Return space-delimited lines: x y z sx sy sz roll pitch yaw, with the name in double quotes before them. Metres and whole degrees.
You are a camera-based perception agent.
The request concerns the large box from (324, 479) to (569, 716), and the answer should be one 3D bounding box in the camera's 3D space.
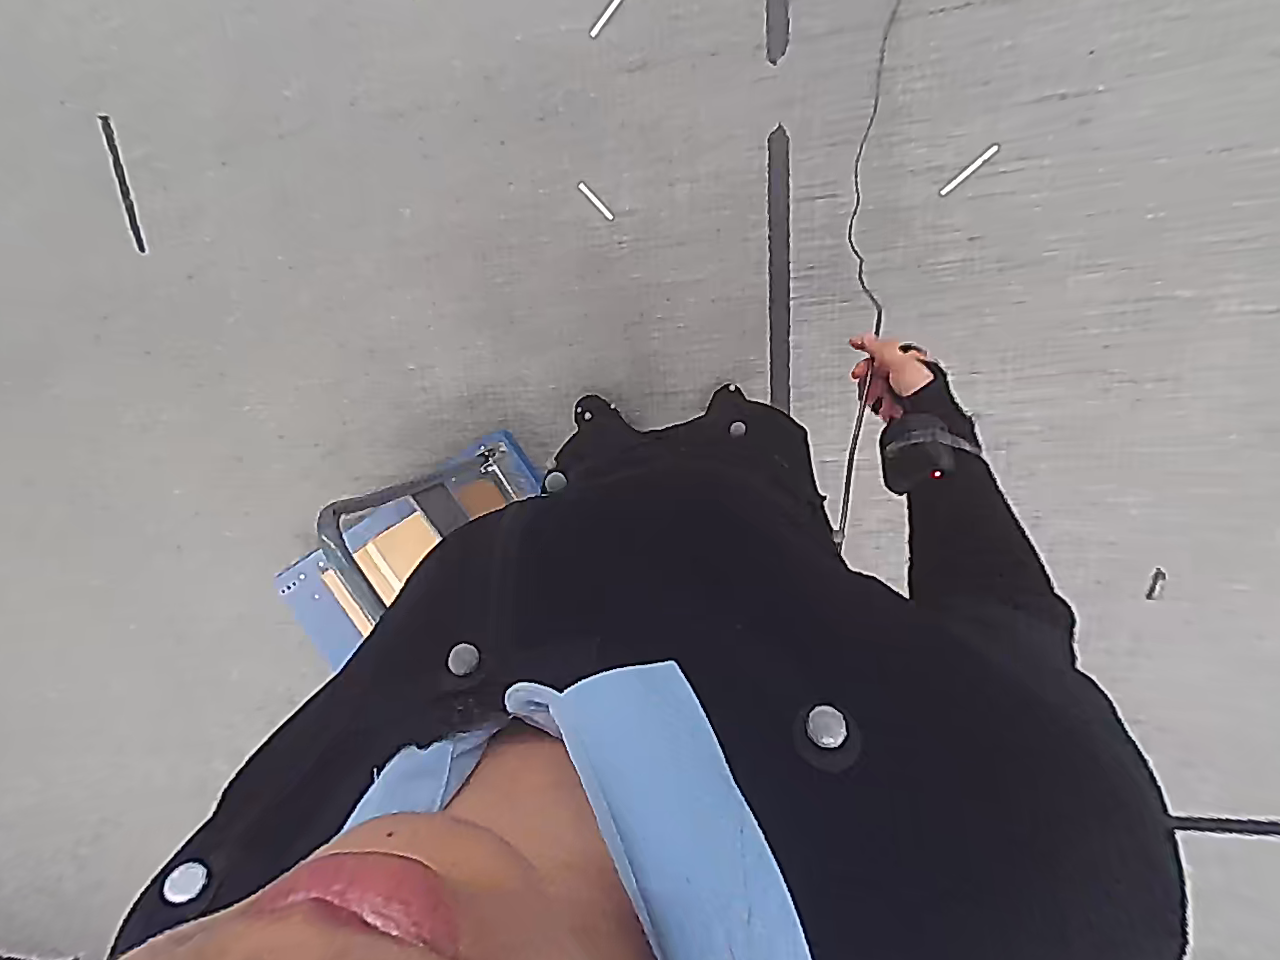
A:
"large box" -0.435 0.264 1.302 0.320 0.320 0.408 -30 95 14
